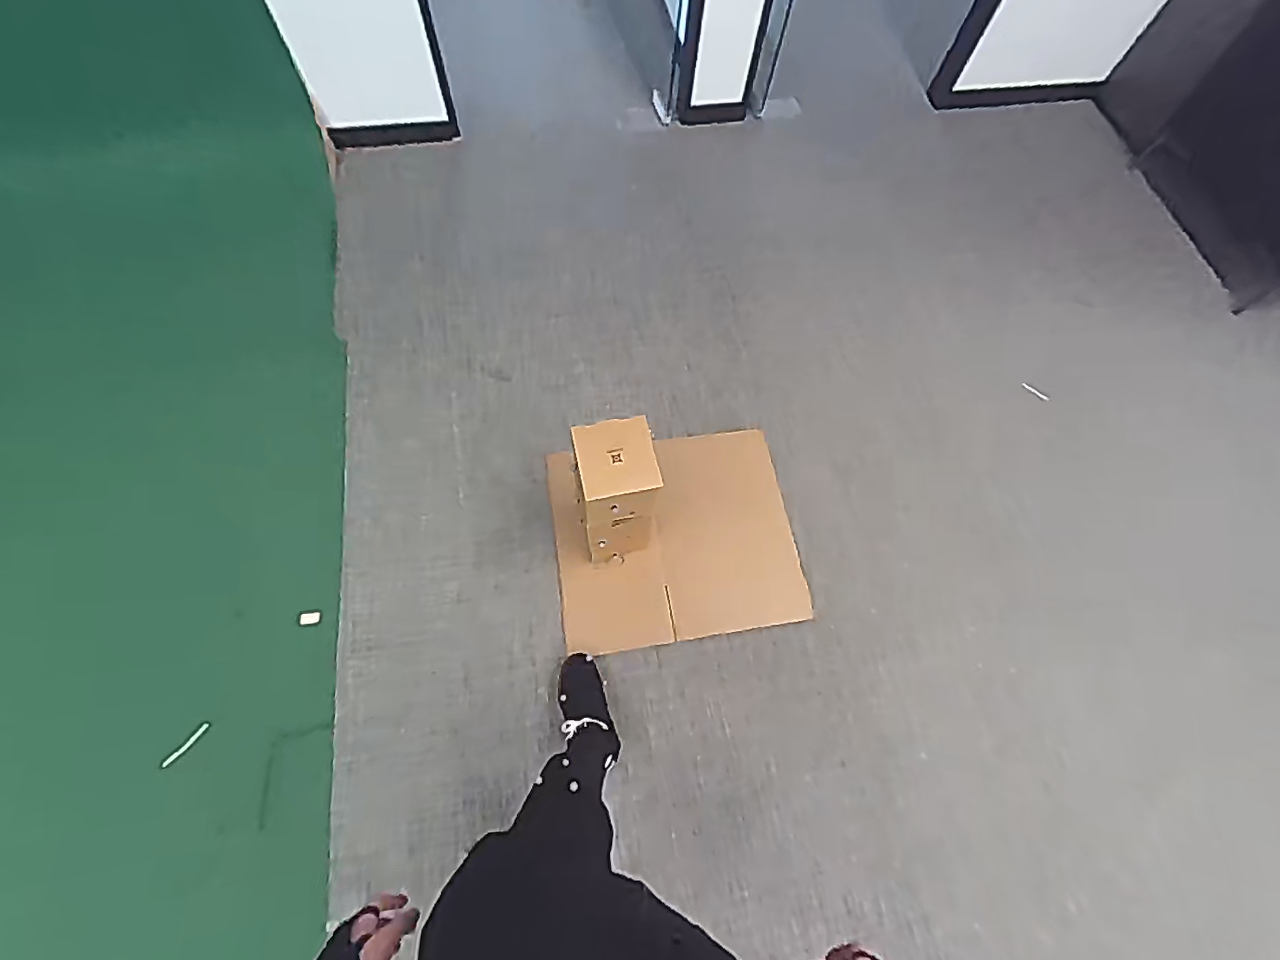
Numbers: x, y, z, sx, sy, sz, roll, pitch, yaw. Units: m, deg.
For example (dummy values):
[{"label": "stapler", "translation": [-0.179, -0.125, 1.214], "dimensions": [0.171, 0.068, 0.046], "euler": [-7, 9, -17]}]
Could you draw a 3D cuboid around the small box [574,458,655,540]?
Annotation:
[{"label": "small box", "translation": [-0.063, 0.041, 1.345], "dimensions": [0.168, 0.176, 0.179], "euler": [-11, 68, -8]}]

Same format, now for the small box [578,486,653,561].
[{"label": "small box", "translation": [-0.072, 0.104, 1.495], "dimensions": [0.168, 0.176, 0.179], "euler": [-15, 69, -9]}]

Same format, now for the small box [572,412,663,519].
[{"label": "small box", "translation": [-0.050, -0.024, 1.197], "dimensions": [0.168, 0.176, 0.179], "euler": [-11, 68, -7]}]
